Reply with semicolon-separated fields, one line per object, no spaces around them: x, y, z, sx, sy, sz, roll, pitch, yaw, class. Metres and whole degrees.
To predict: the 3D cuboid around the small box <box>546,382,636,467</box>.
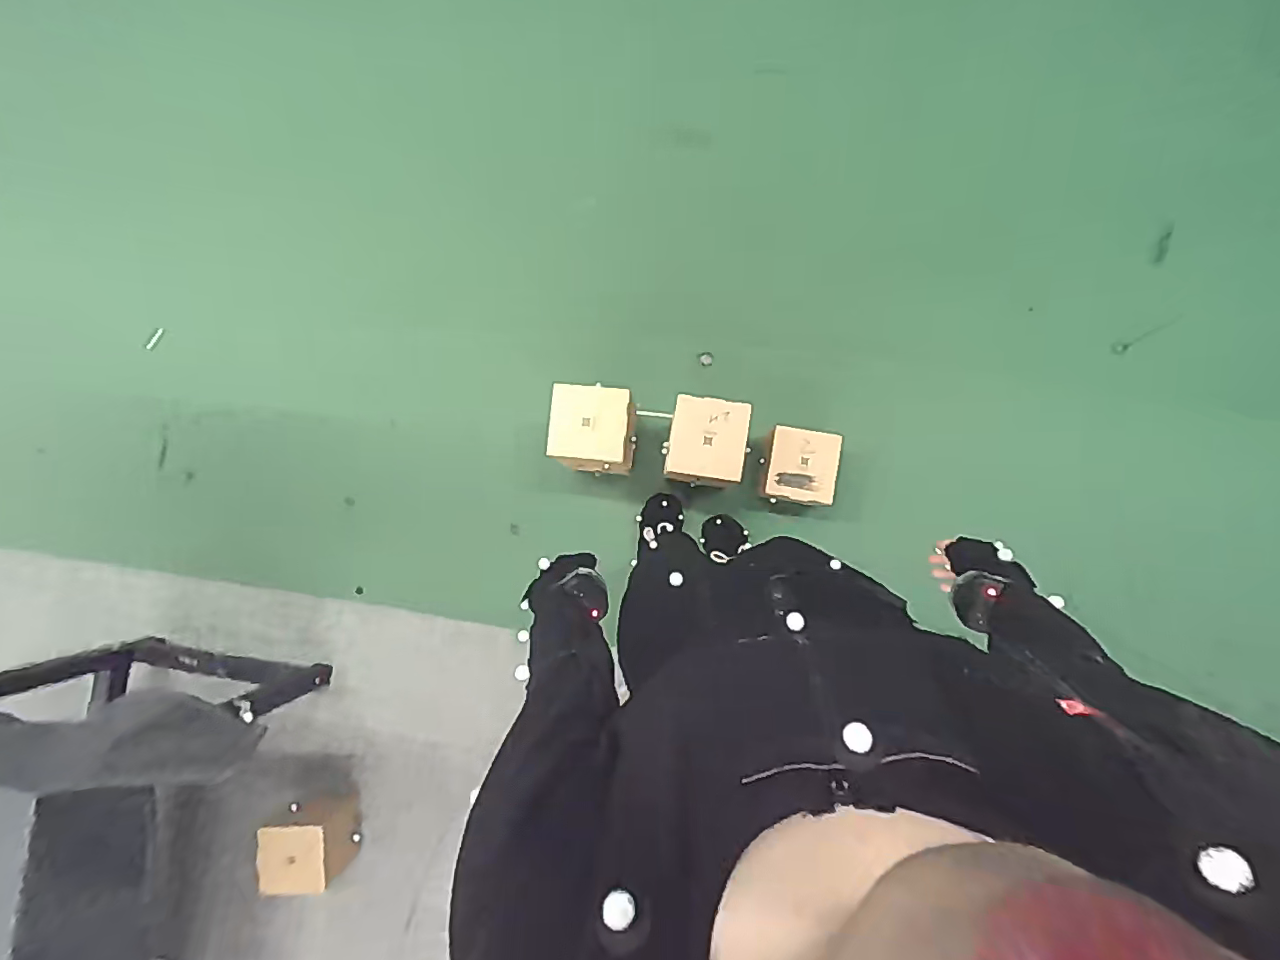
-0.110;-0.126;1.280;0.179;0.176;0.168;6;87;4;small box

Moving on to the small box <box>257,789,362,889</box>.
-0.872;0.945;1.436;0.179;0.176;0.168;-4;87;4;small box

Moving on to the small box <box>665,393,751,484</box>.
0.155;-0.090;1.258;0.168;0.176;0.179;10;87;3;small box
